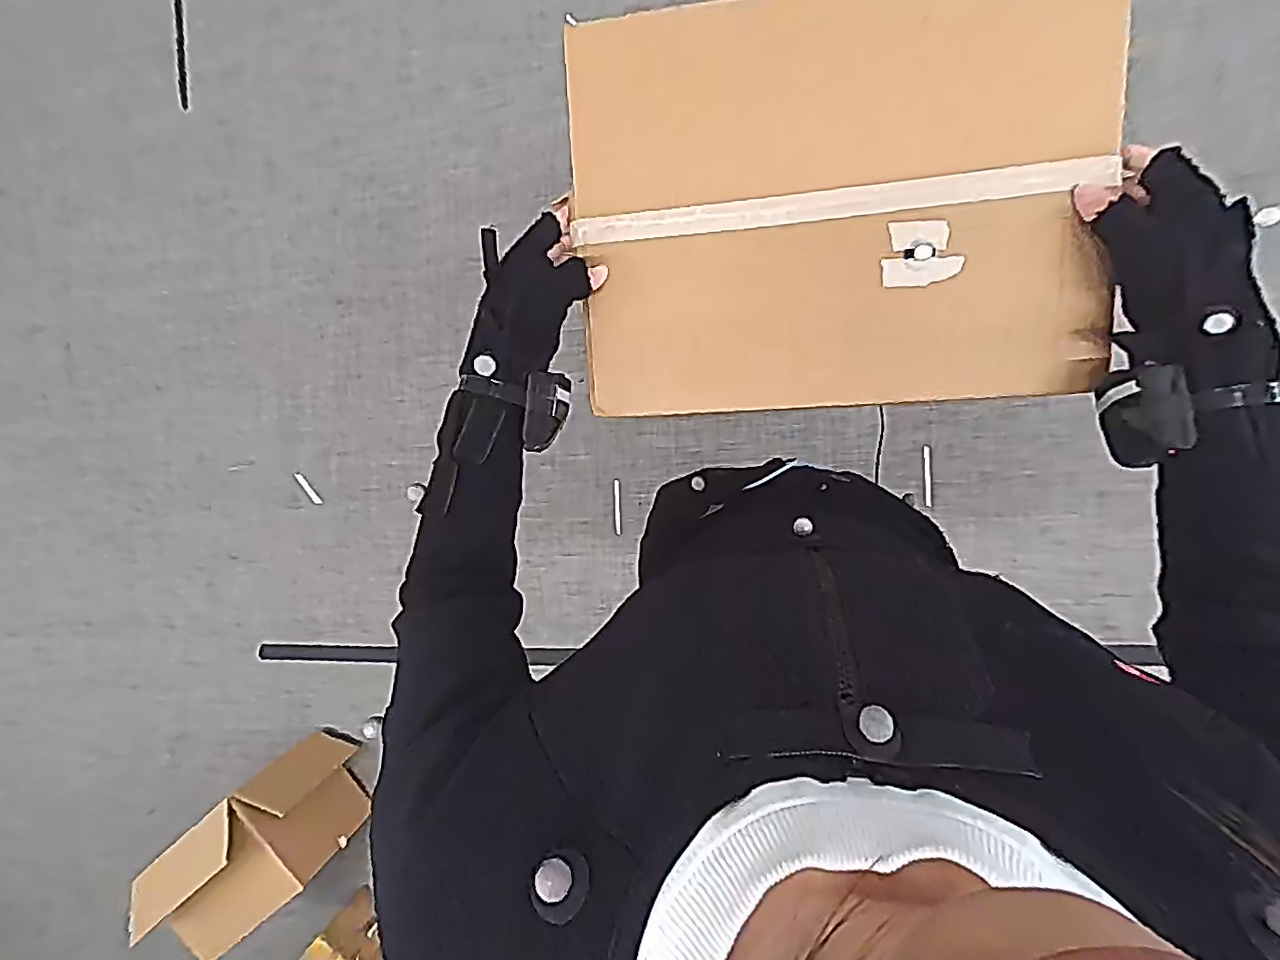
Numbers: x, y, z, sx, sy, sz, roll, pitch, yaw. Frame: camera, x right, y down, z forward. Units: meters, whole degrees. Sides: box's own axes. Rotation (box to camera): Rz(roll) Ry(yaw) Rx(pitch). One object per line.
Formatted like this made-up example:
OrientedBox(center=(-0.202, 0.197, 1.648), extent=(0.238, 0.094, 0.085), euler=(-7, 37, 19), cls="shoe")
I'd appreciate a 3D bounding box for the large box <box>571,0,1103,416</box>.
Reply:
OrientedBox(center=(0.168, -0.242, 0.584), extent=(0.408, 0.320, 0.320), euler=(-2, 99, 9), cls="large box")
